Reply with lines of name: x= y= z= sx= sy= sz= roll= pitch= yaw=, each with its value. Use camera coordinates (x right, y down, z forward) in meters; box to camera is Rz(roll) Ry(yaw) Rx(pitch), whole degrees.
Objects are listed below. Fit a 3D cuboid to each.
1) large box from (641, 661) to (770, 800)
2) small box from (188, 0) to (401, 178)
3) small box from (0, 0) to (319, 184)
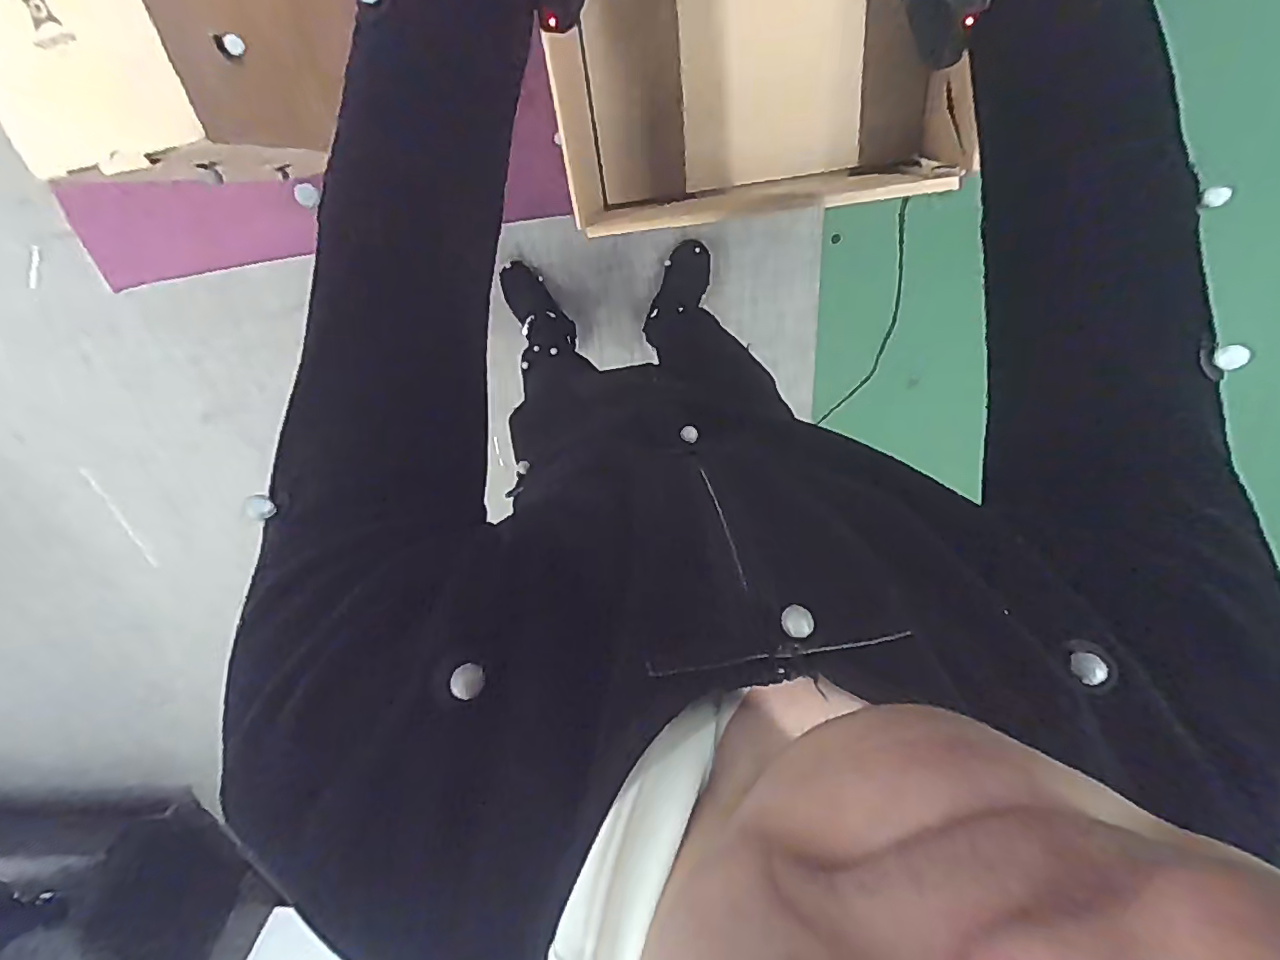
large box: x=0.253 y=1.006 z=2.178 sx=0.408 sy=0.320 sz=0.320 roll=-33 pitch=113 yaw=20
small box: x=-0.405 y=-0.441 z=0.599 sx=0.179 sy=0.176 sz=0.168 roll=-7 pitch=119 yaw=7
small box: x=-0.417 y=-0.363 z=0.455 sx=0.168 sy=0.176 sz=0.179 roll=-6 pitch=119 yaw=7
